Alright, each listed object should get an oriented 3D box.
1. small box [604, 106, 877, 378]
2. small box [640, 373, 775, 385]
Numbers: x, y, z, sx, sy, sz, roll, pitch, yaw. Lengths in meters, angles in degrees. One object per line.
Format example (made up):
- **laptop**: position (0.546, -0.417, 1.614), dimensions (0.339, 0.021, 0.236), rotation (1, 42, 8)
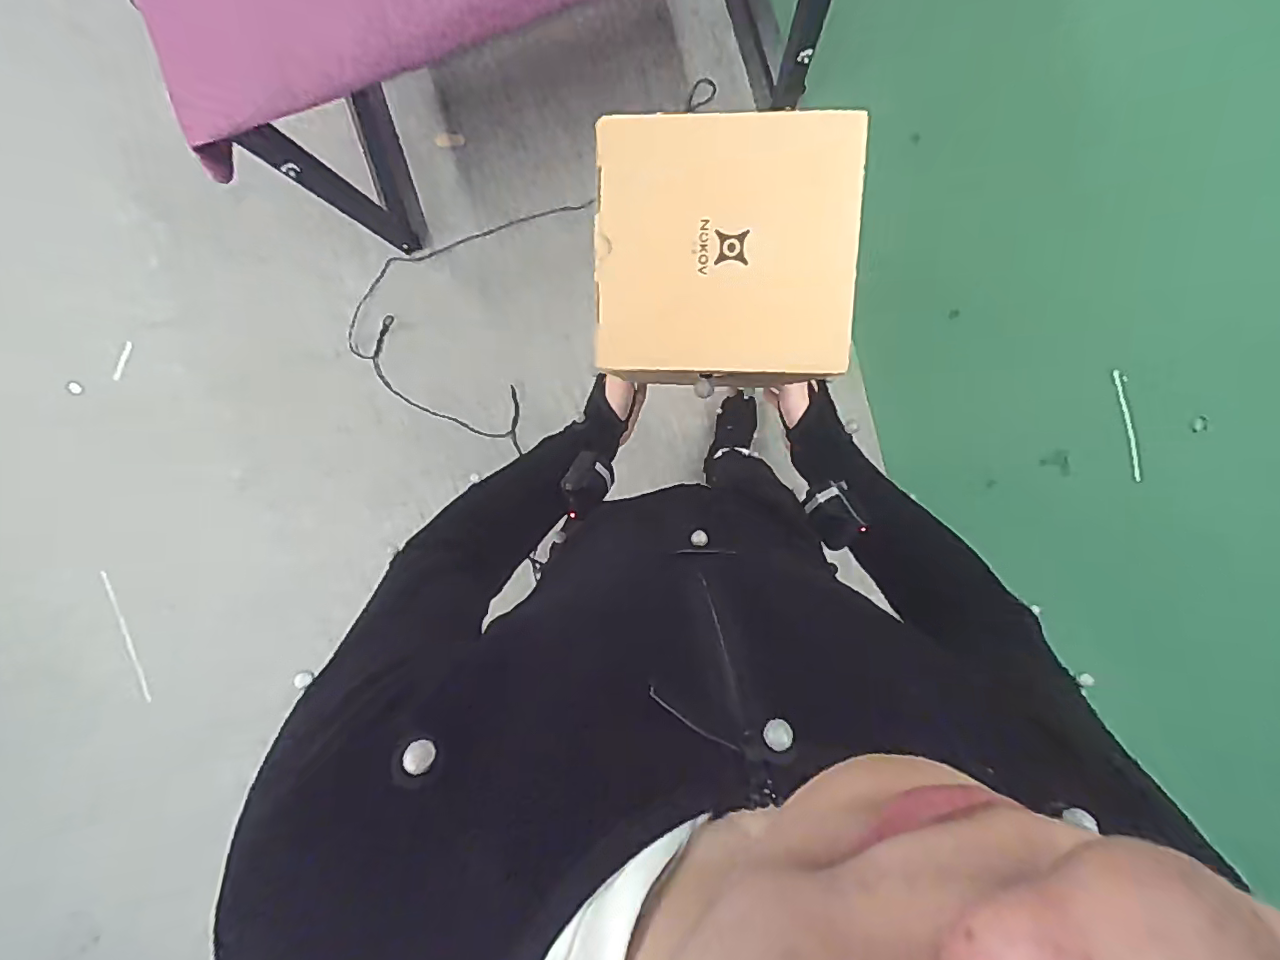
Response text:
- **small box**: position (0.069, -0.171, 0.438), dimensions (0.179, 0.176, 0.168), rotation (1, 99, 5)
- **small box**: position (0.096, -0.222, 0.760), dimensions (0.179, 0.176, 0.168), rotation (3, 98, 5)
